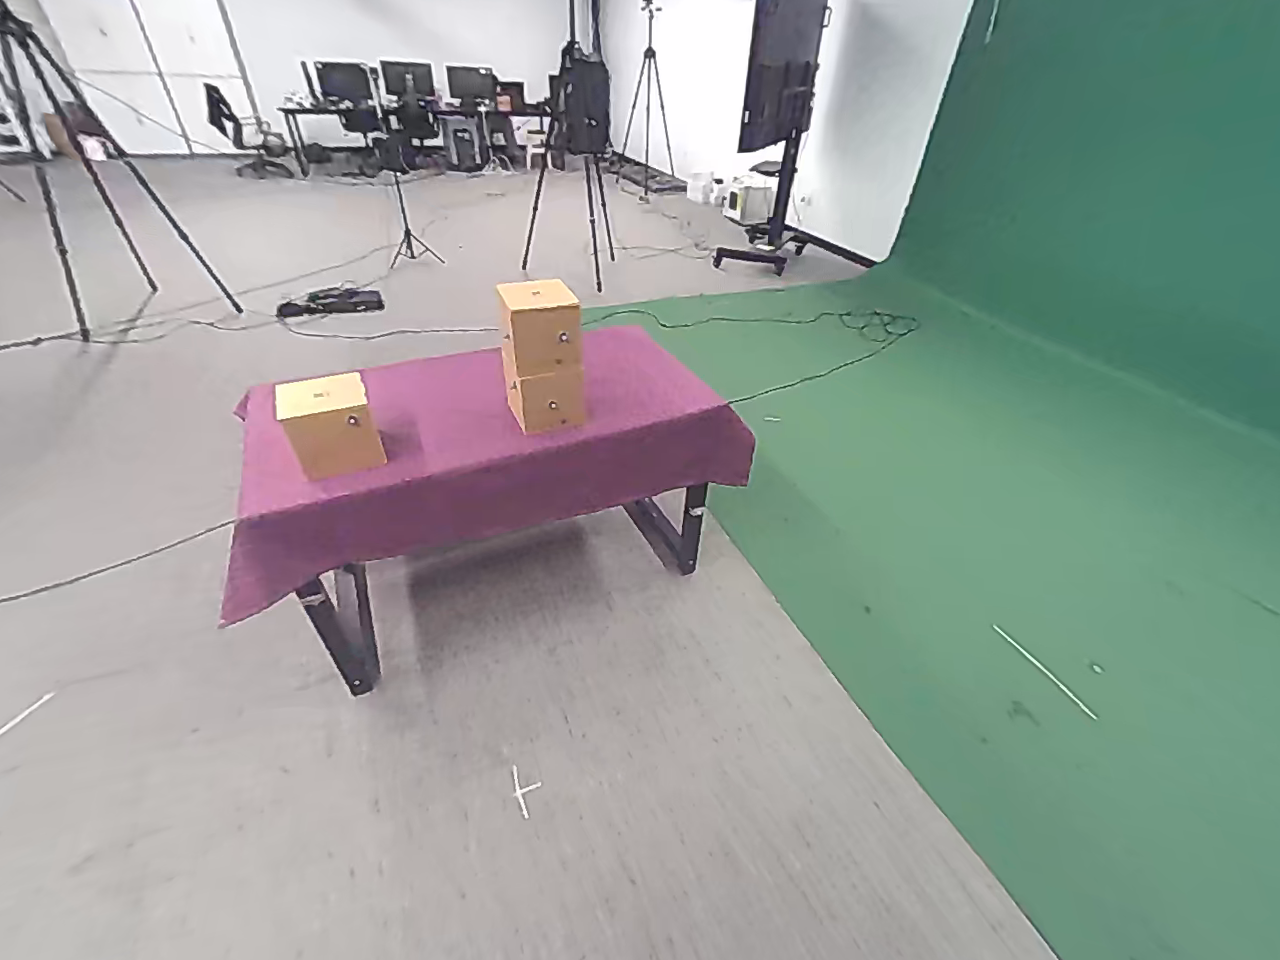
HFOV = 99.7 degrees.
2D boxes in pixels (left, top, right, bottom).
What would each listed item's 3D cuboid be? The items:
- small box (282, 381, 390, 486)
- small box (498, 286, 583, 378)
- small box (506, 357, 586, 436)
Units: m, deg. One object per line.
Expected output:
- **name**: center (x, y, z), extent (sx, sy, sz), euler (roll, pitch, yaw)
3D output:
- **small box**: center (-0.702, -0.108, 1.255), extent (0.179, 0.176, 0.168), euler (-16, 41, -23)
- **small box**: center (-0.242, -0.360, 1.334), extent (0.168, 0.176, 0.179), euler (-13, 40, -19)
- **small box**: center (-0.246, -0.229, 1.431), extent (0.168, 0.176, 0.179), euler (-14, 41, -21)
